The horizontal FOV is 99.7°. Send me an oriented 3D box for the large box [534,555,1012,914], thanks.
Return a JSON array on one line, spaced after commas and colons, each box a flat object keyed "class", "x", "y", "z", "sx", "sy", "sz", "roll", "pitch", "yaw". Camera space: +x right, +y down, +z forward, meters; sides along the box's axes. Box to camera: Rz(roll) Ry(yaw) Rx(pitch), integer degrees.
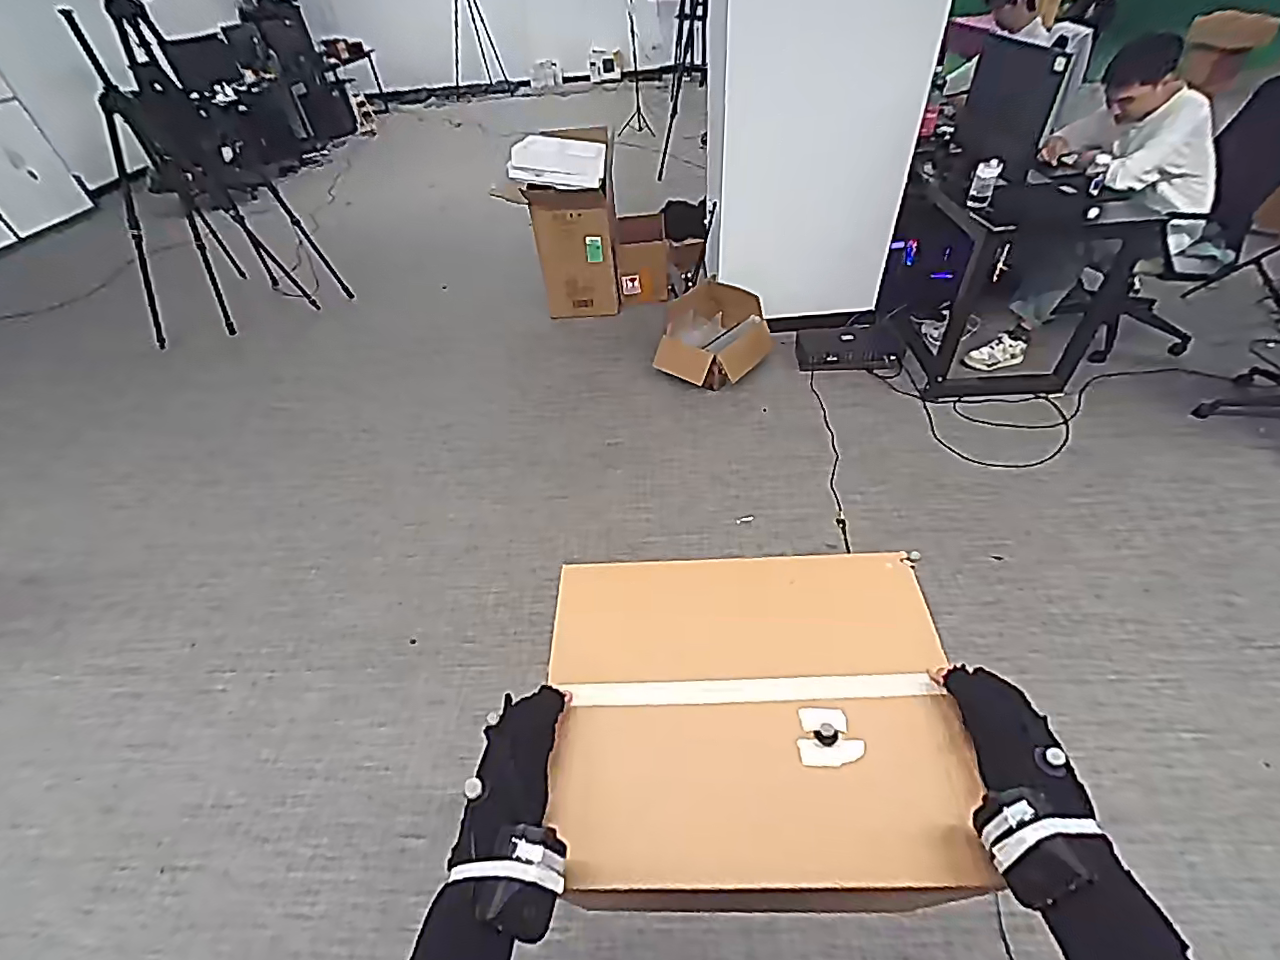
[{"class": "large box", "x": 0.114, "y": 0.312, "z": 0.654, "sx": 0.408, "sy": 0.320, "sz": 0.320, "roll": -3, "pitch": 49, "yaw": 3}]
